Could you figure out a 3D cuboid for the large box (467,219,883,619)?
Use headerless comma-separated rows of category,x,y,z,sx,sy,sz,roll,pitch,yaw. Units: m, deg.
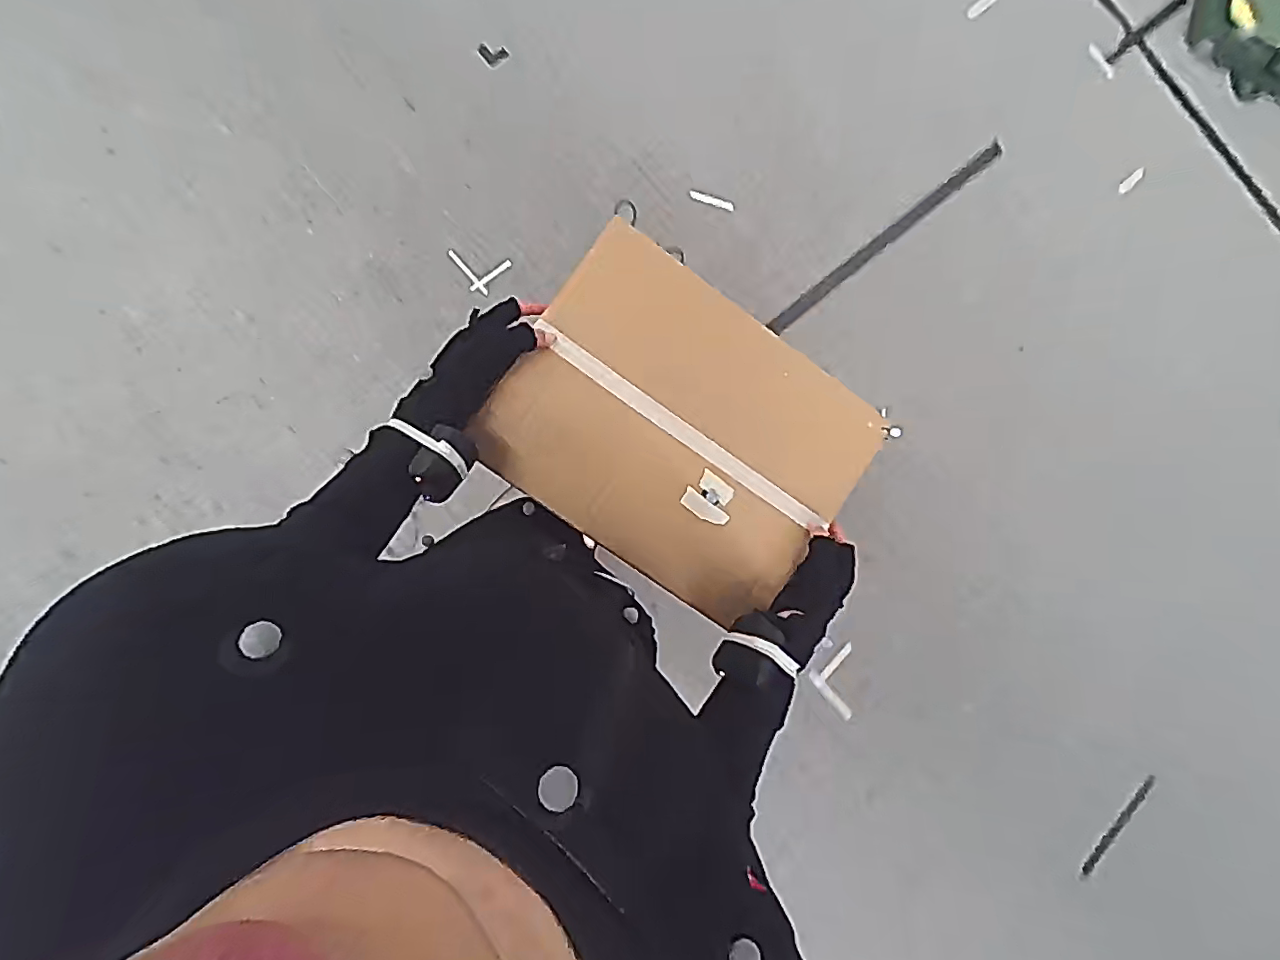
large box,0.032,-0.068,0.773,0.408,0.320,0.320,35,87,-6
